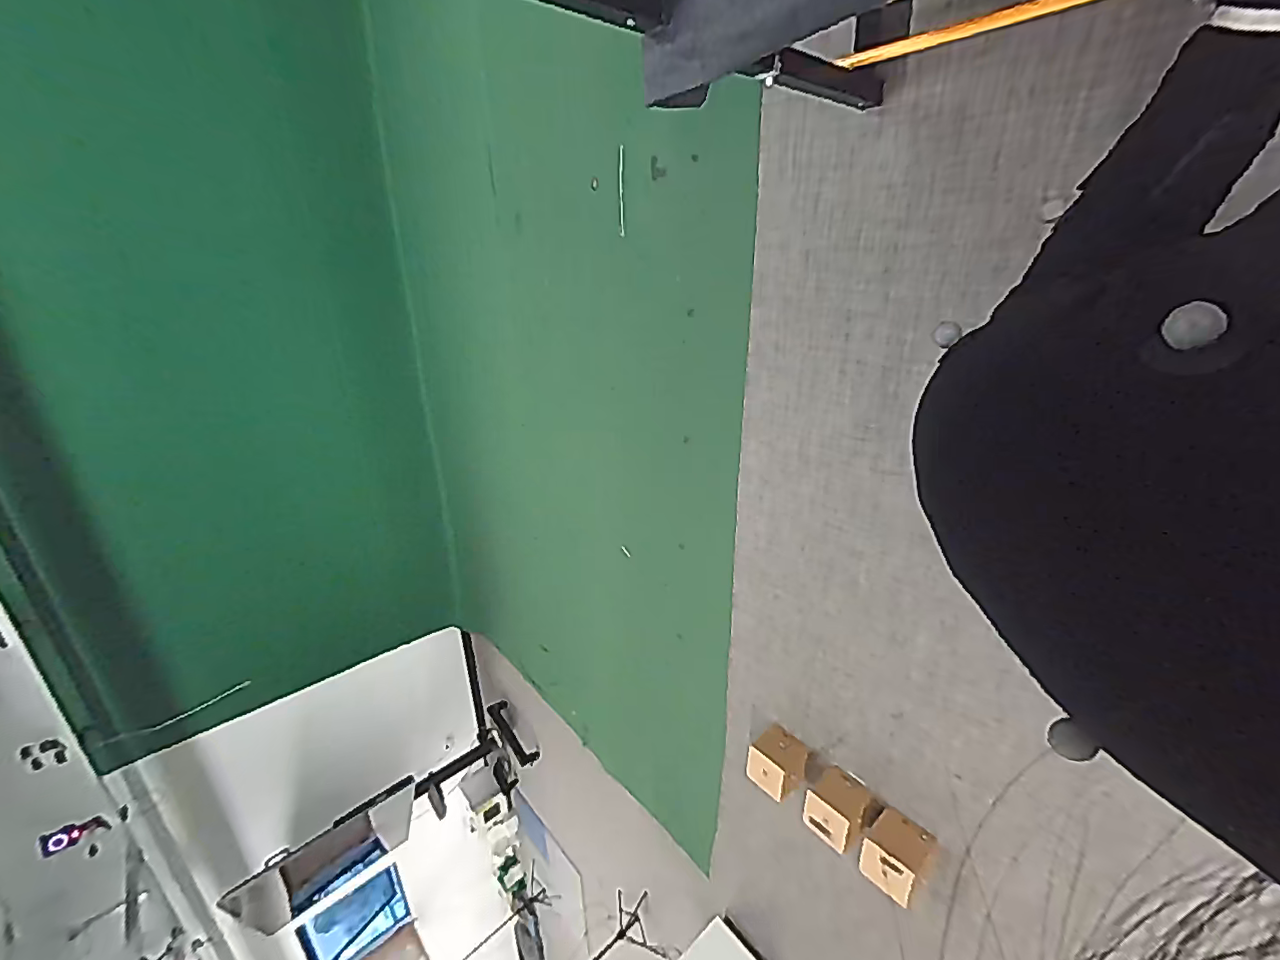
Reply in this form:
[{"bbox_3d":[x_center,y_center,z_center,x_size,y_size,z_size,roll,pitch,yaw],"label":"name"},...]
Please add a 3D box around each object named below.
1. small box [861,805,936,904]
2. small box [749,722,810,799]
[{"bbox_3d":[0.868,1.245,1.811,0.168,0.176,0.179,22,123,45],"label":"small box"},{"bbox_3d":[0.556,1.107,2.150,0.168,0.176,0.179,25,123,45],"label":"small box"}]
